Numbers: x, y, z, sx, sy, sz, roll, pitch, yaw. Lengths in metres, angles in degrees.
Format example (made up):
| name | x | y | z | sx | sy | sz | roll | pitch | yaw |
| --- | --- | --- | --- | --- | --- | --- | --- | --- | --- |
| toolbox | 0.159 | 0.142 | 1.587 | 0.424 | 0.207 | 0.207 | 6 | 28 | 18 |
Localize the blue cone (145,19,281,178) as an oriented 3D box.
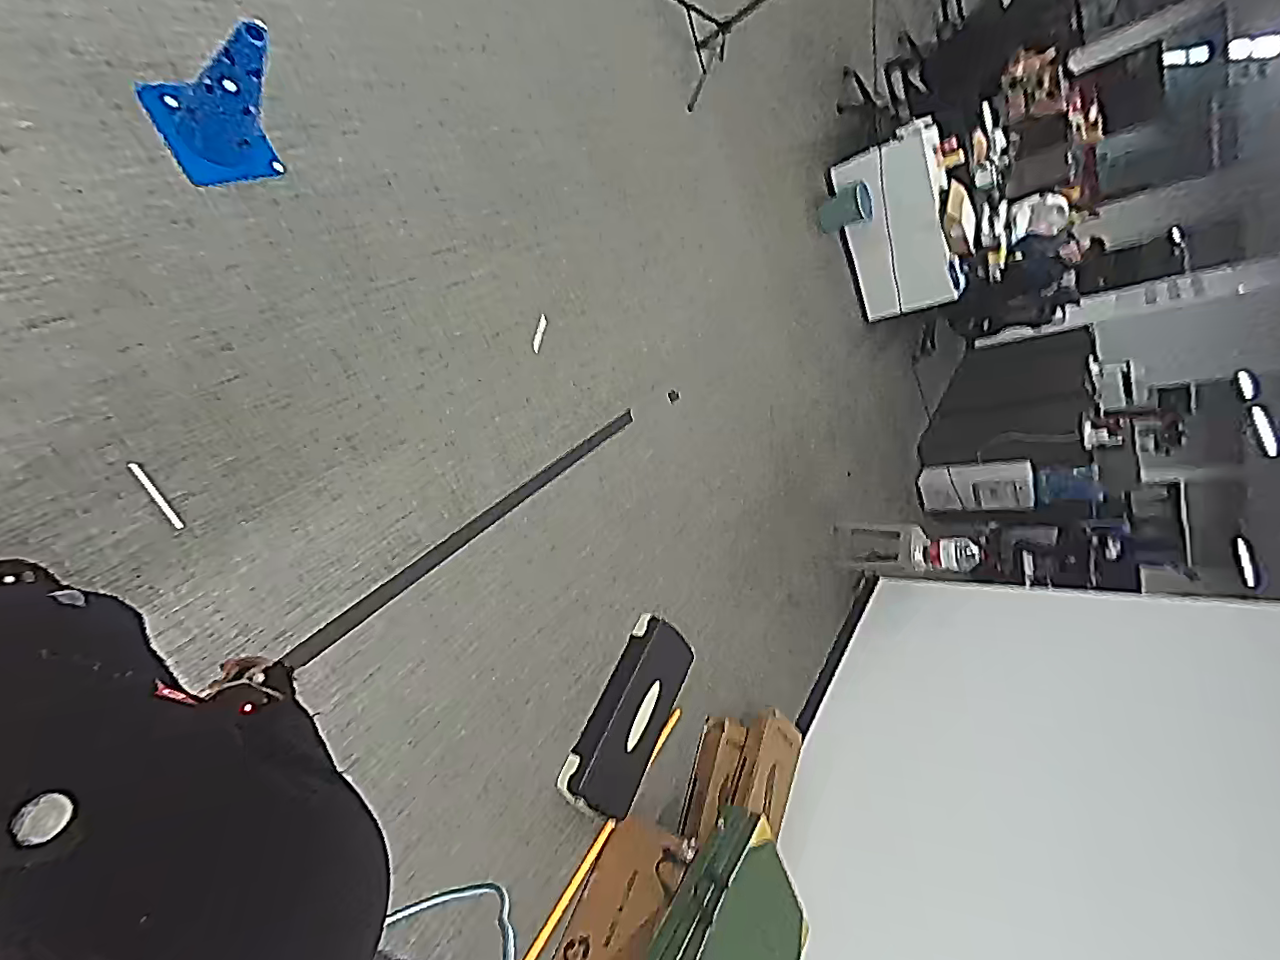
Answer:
| name | x | y | z | sx | sy | sz | roll | pitch | yaw |
| --- | --- | --- | --- | --- | --- | --- | --- | --- | --- |
| blue cone | -0.793 | -0.764 | 1.054 | 0.192 | 0.380 | 0.193 | -40 | 115 | -43 |
